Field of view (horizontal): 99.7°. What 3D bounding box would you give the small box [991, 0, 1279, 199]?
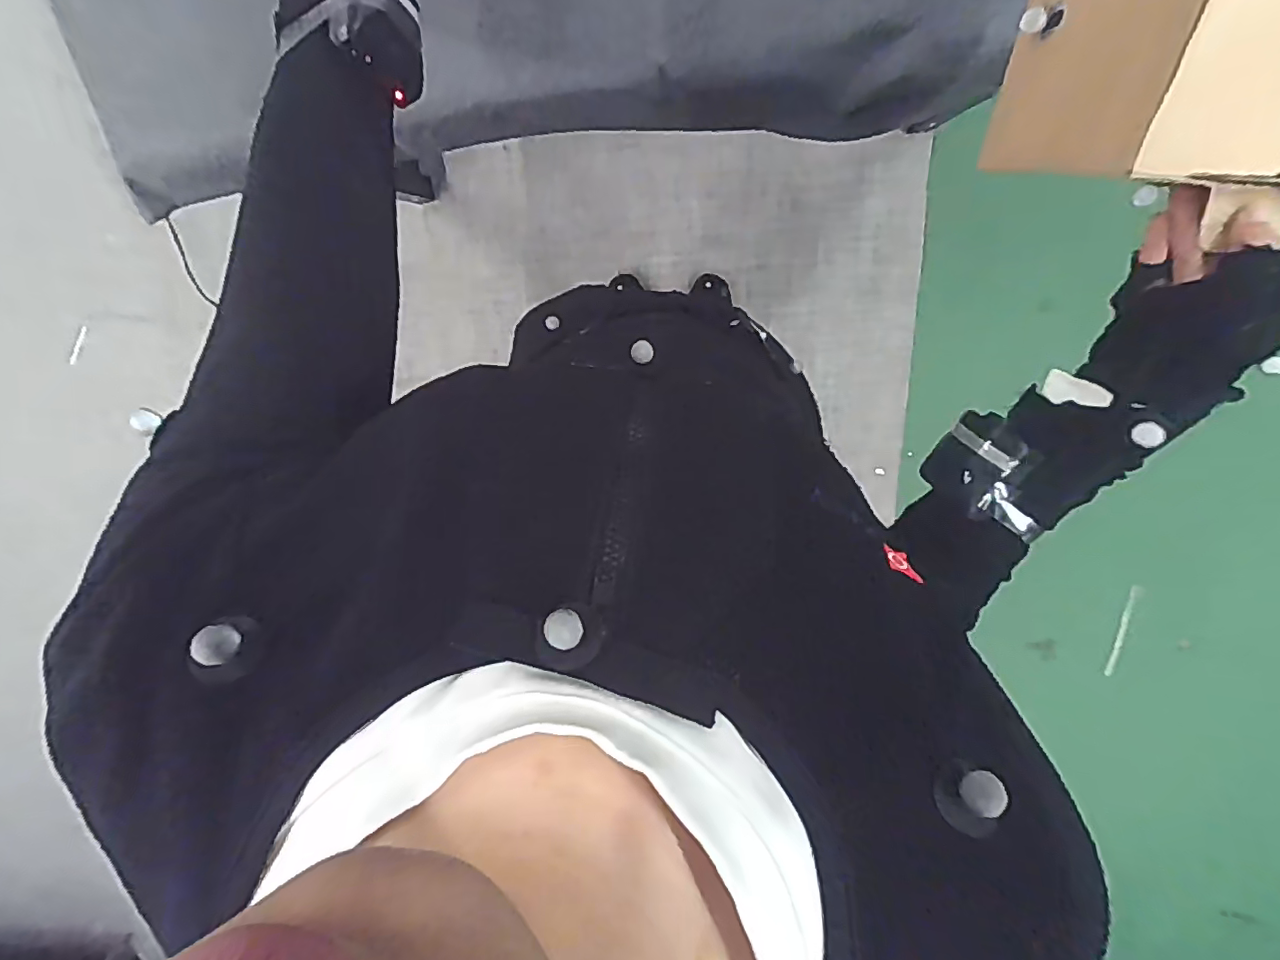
[{"bbox_3d":[0.344,-0.267,0.310,0.168,0.176,0.179,4,121,0],"label":"small box"}]
